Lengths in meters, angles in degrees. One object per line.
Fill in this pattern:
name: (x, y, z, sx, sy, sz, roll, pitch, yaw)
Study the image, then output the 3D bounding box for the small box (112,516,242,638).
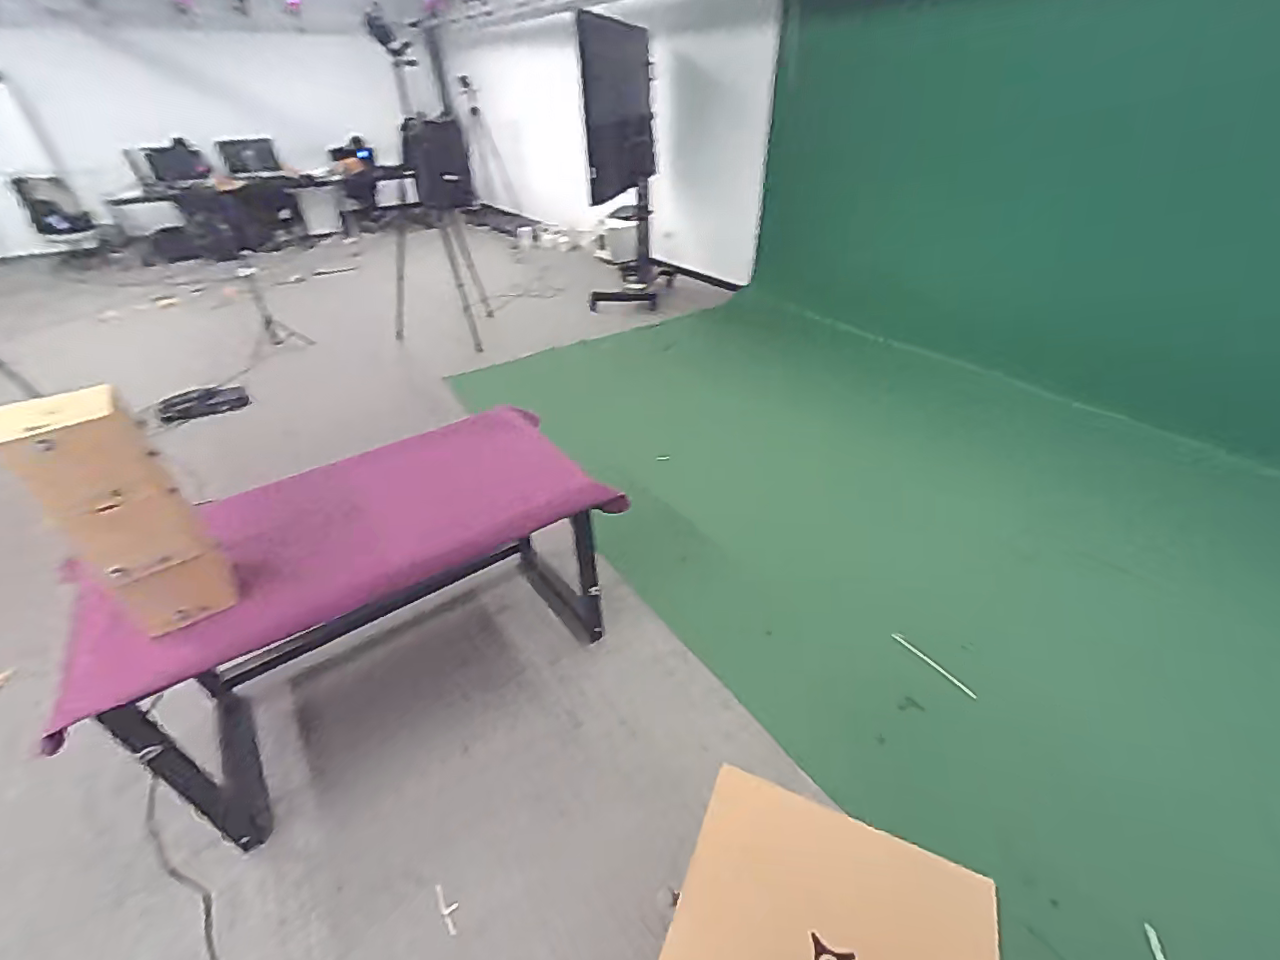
small box: (-1.027, 0.216, 1.209, 0.168, 0.176, 0.179, -25, 42, -28)

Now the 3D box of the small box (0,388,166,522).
small box: (-1.035, -0.049, 1.018, 0.168, 0.176, 0.179, -26, 41, -29)

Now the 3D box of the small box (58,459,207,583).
small box: (-1.026, 0.087, 1.109, 0.168, 0.176, 0.179, -25, 41, -28)
